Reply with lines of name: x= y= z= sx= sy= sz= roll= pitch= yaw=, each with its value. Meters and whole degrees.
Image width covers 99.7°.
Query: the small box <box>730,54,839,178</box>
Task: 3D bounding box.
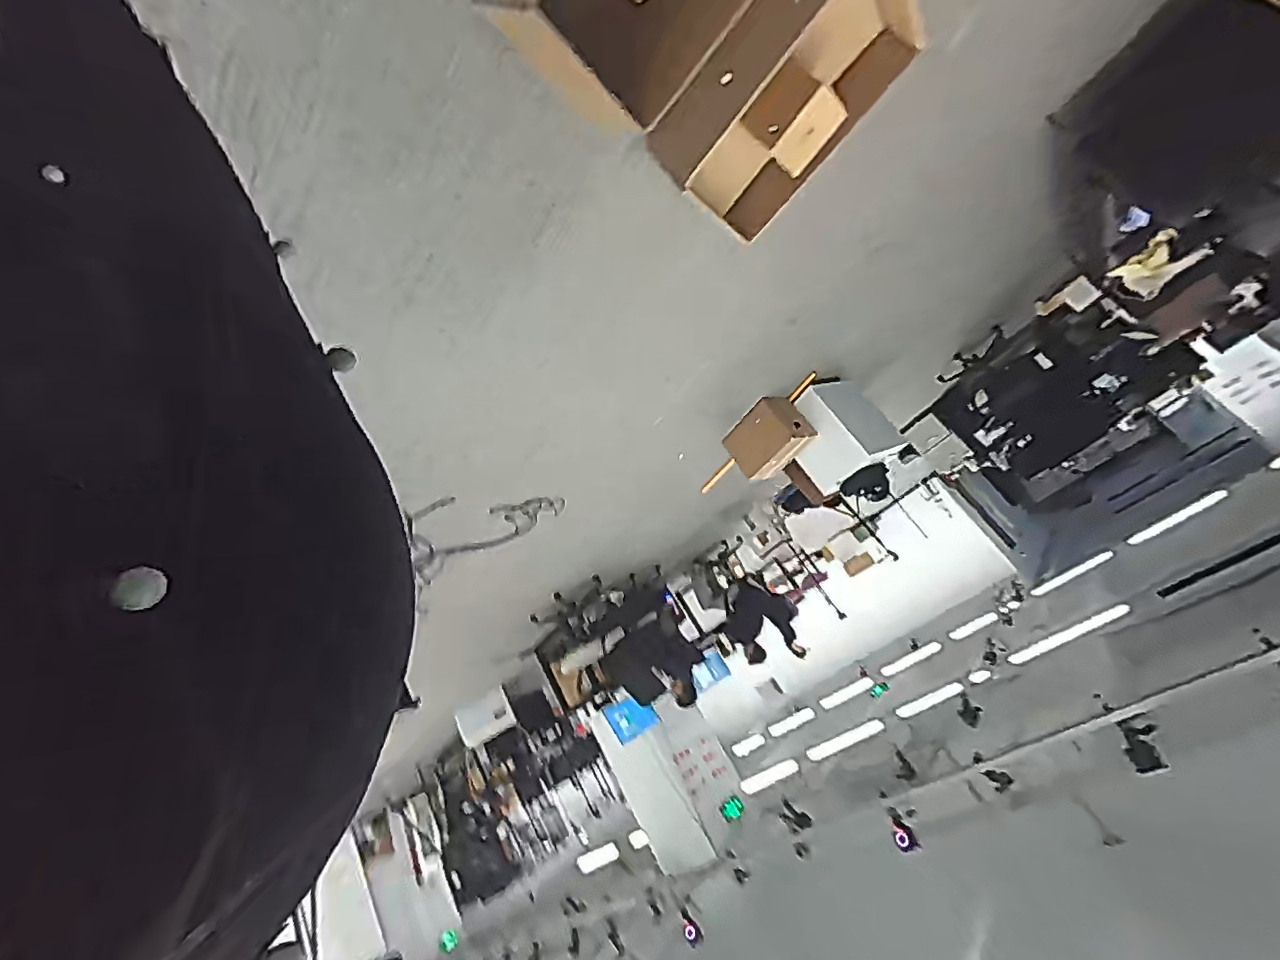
small box: x=0.365 y=-0.926 z=1.379 sx=0.168 sy=0.176 sz=0.179 roll=-5 pitch=145 yaw=-52
